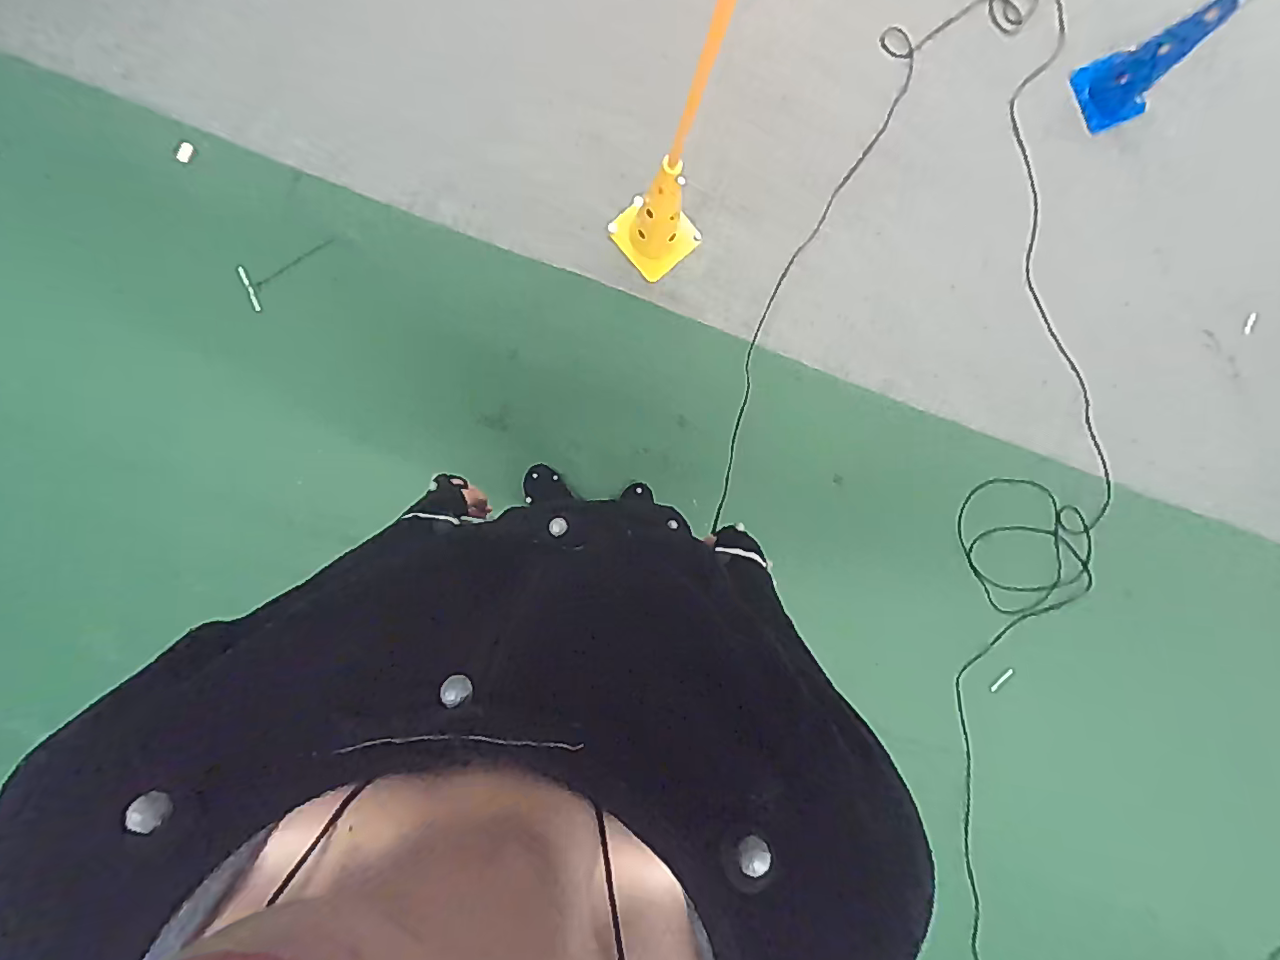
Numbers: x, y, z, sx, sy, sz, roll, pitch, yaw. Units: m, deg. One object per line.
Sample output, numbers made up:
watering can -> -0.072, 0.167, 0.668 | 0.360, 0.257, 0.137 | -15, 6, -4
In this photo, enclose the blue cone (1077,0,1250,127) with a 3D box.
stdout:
blue cone -> 1.409, -1.160, 1.431 | 0.193, 0.380, 0.192 | -26, 93, -6
